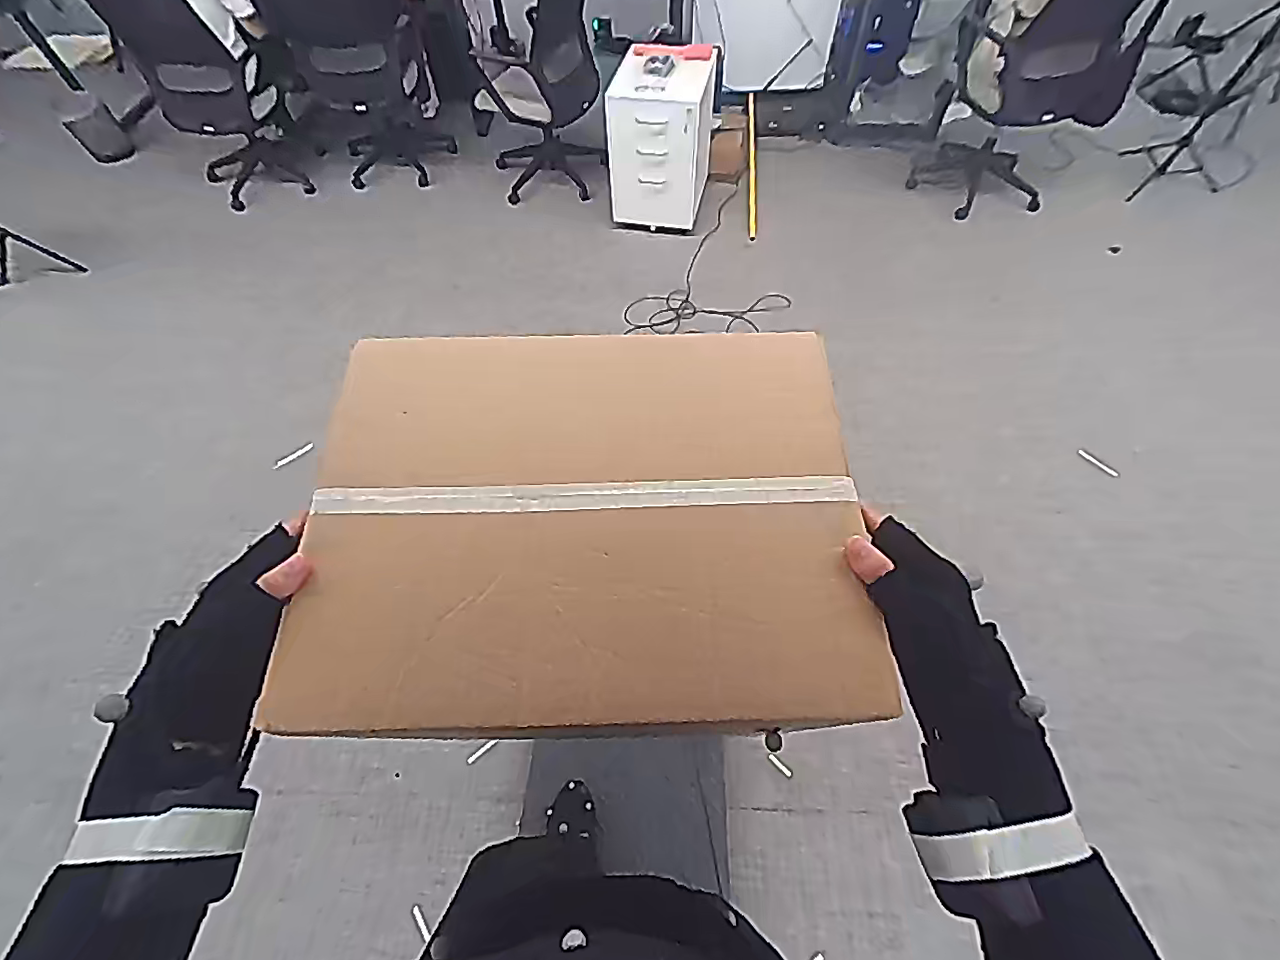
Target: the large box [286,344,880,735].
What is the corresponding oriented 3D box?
[{"bbox_3d":[-0.039,0.085,0.555,0.408,0.320,0.320,-1,63,0],"label":"large box"}]
